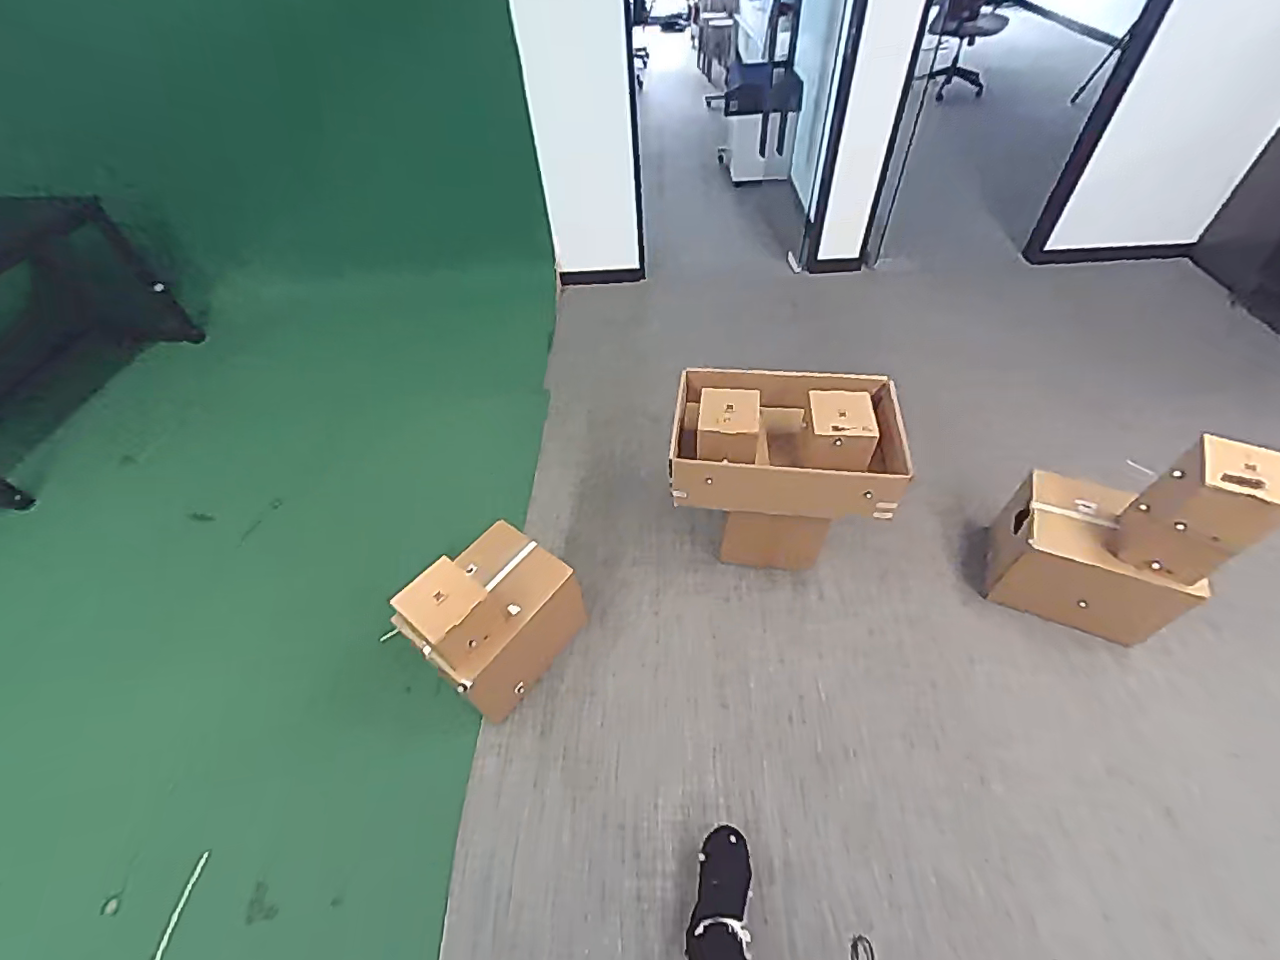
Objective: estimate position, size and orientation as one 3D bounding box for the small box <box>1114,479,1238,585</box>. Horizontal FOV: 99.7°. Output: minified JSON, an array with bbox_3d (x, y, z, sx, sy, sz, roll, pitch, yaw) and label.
[{"bbox_3d":[1.361,0.133,1.383,0.168,0.176,0.179,23,57,22],"label":"small box"}]

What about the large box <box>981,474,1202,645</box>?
[{"bbox_3d":[1.310,0.237,1.620,0.408,0.320,0.320,17,52,18],"label":"large box"}]

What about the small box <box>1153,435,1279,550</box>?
[{"bbox_3d":[1.344,0.033,1.255,0.168,0.176,0.179,23,55,22],"label":"small box"}]

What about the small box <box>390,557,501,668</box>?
[{"bbox_3d":[-0.470,0.330,1.331,0.179,0.176,0.168,31,57,24],"label":"small box"}]
